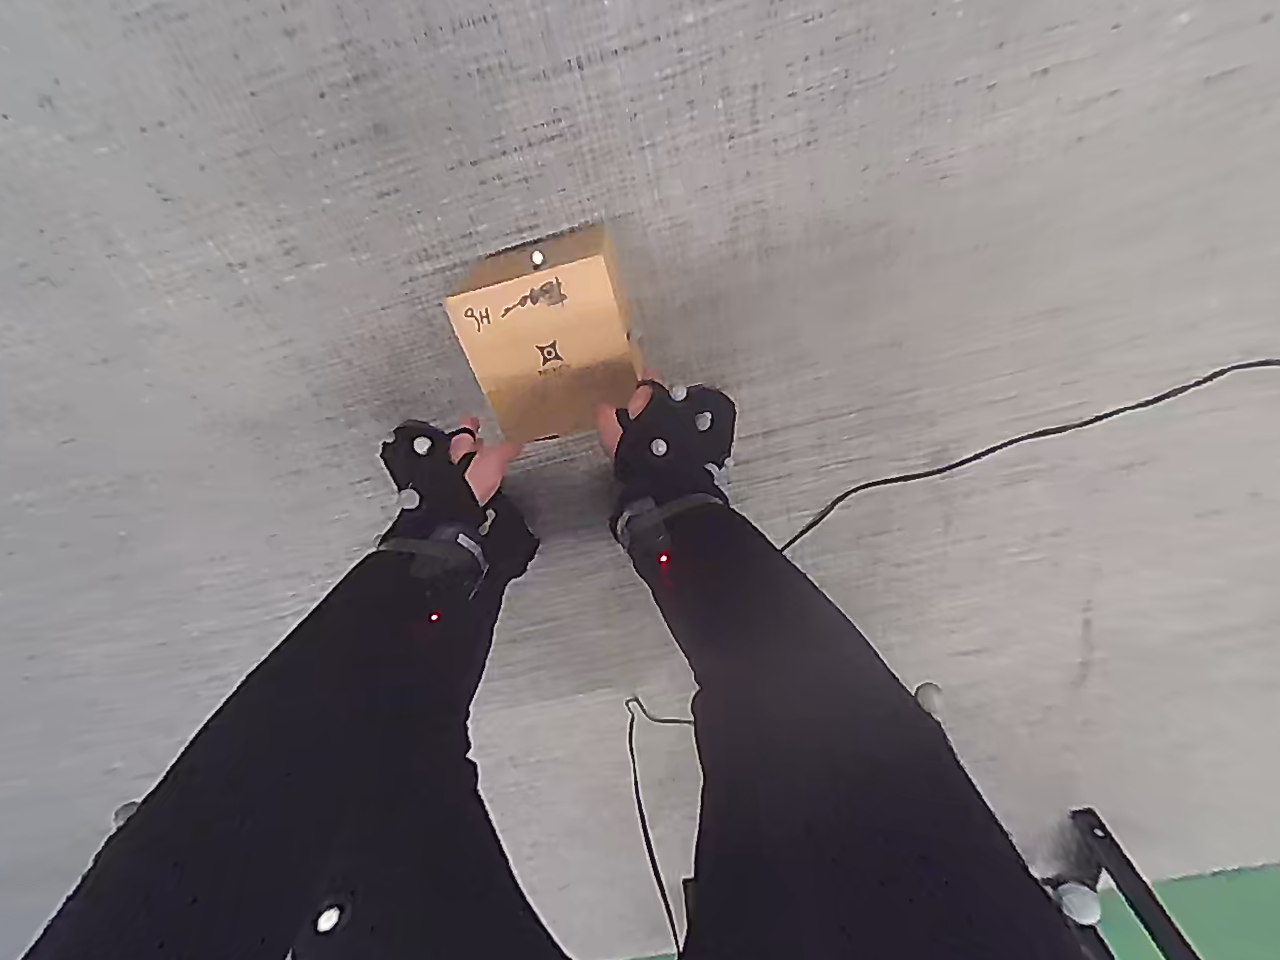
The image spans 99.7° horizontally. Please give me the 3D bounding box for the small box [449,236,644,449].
[{"bbox_3d":[-0.094,-0.165,0.640,0.168,0.176,0.179,-14,123,6],"label":"small box"}]
